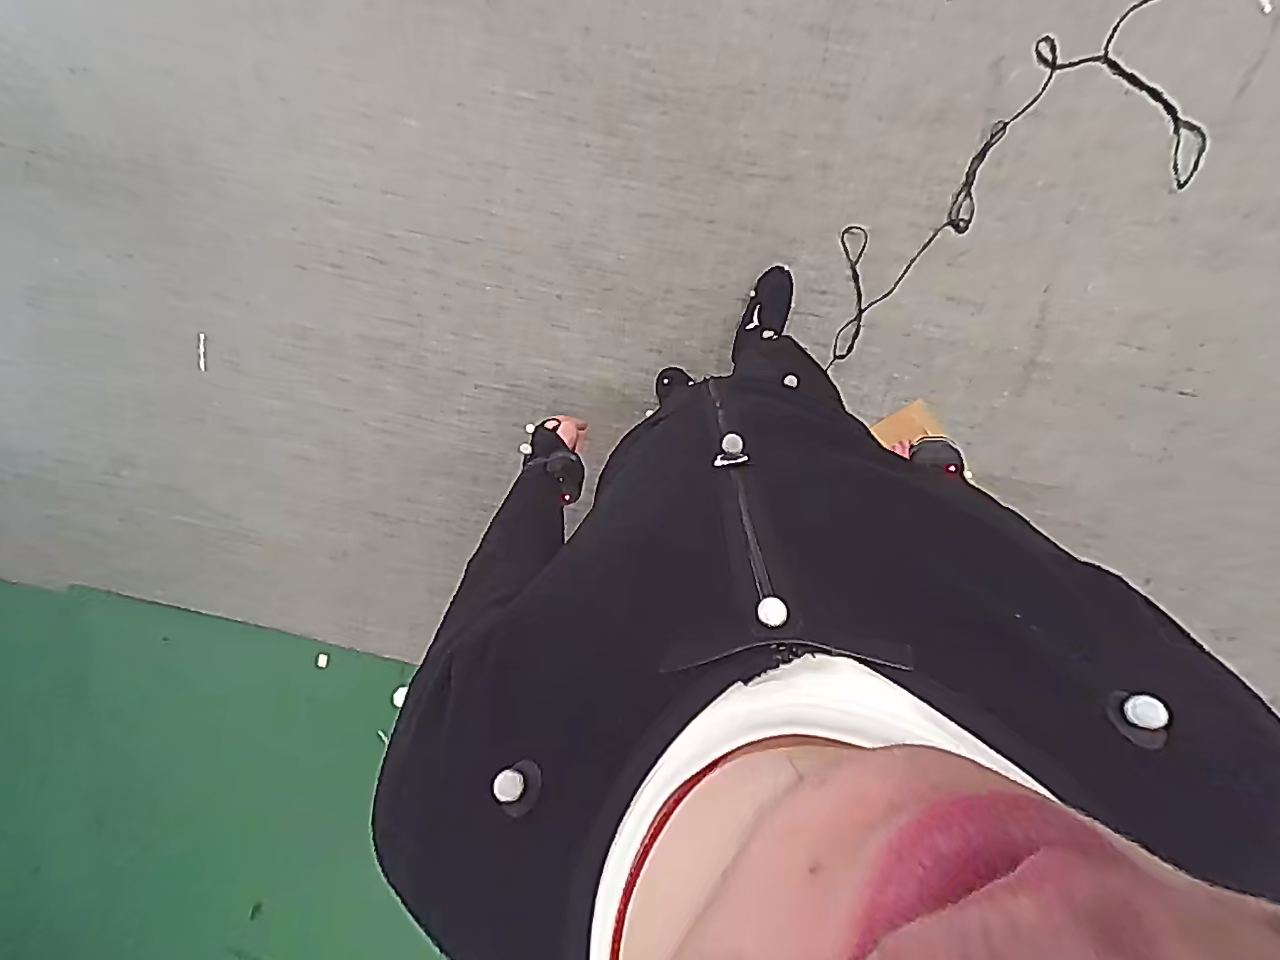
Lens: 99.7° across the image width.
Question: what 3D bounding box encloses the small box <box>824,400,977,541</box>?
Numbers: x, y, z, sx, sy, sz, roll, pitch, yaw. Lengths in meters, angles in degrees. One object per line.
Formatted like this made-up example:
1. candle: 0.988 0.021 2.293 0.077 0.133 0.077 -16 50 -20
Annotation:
1. small box: 0.442 -0.017 0.928 0.176 0.179 0.168 -38 82 30
